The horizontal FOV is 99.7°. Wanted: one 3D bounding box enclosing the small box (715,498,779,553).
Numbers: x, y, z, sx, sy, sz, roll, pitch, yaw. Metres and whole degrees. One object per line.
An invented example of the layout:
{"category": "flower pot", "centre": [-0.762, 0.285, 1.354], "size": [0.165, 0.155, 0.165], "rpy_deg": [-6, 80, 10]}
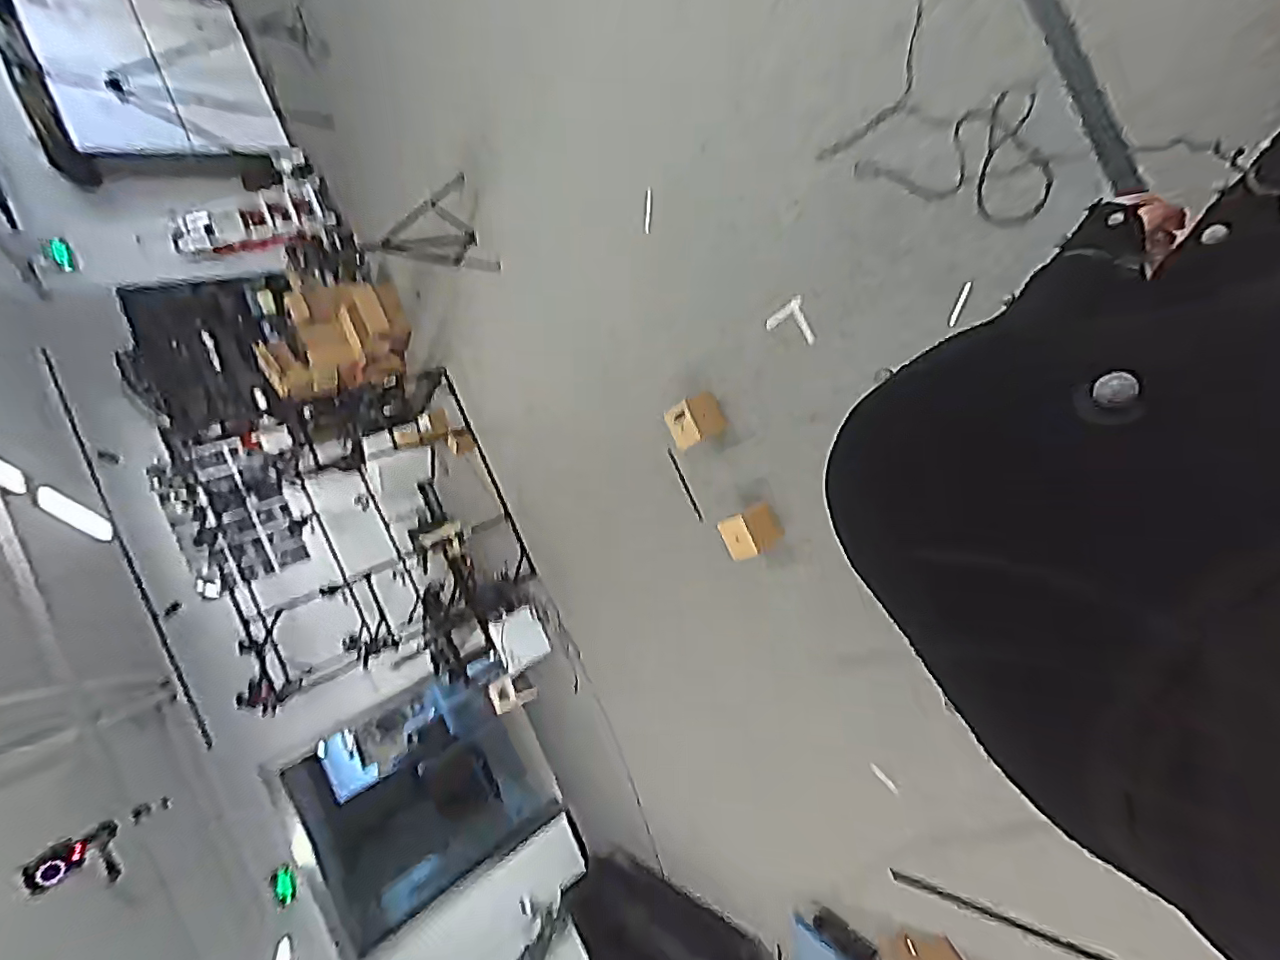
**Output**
{"category": "small box", "centre": [0.460, 0.191, 2.314], "size": [0.168, 0.176, 0.179], "rpy_deg": [-27, 88, 56]}
